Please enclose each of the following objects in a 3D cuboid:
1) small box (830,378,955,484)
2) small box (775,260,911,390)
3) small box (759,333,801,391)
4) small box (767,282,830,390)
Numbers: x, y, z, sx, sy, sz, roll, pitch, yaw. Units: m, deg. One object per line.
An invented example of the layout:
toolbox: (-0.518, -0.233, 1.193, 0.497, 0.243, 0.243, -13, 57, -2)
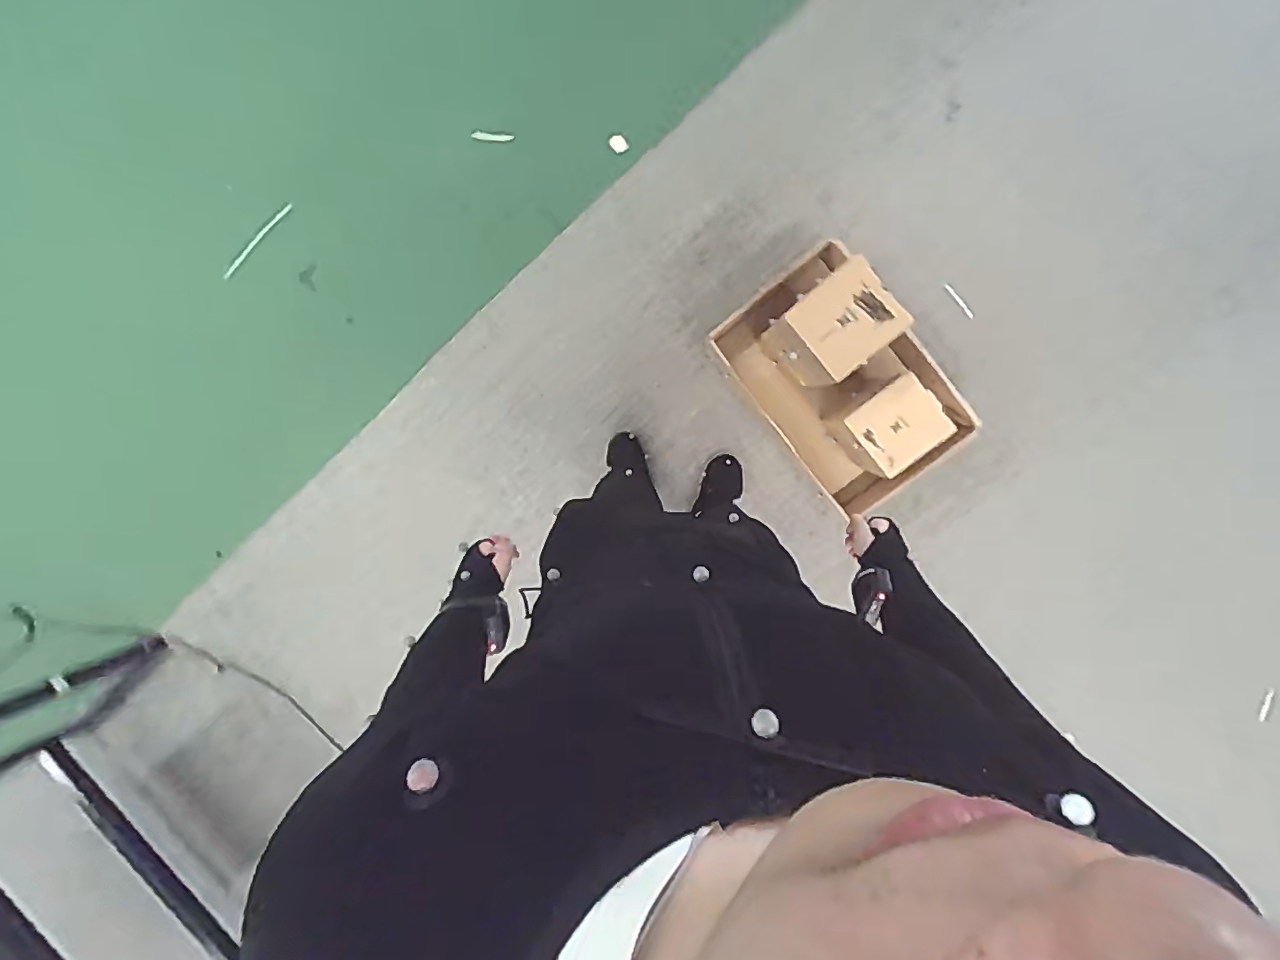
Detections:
small box: (0.568, -0.112, 1.245, 0.179, 0.176, 0.168, -38, 89, 9)
small box: (0.391, -0.298, 1.079, 0.179, 0.176, 0.168, -39, 91, 10)
small box: (0.423, -0.343, 1.400, 0.179, 0.176, 0.168, -38, 92, 9)
small box: (0.407, -0.321, 1.241, 0.179, 0.176, 0.168, -39, 91, 9)
